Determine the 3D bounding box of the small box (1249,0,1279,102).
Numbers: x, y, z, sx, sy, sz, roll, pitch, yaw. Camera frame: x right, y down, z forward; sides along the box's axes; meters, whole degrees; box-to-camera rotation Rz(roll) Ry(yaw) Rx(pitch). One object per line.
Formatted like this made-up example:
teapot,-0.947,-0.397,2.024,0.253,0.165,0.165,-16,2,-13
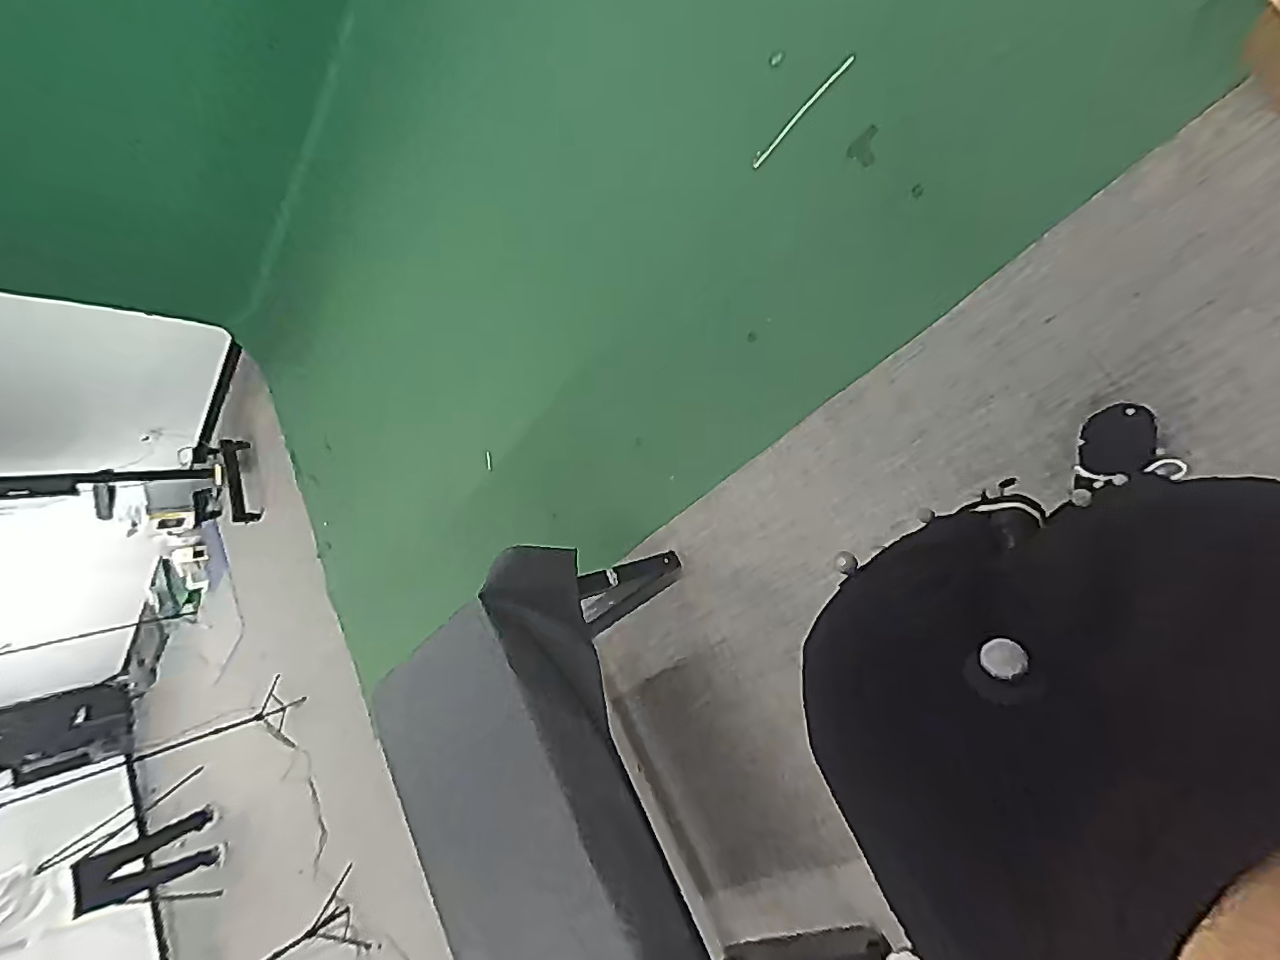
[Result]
small box,1.079,-0.675,0.799,0.168,0.176,0.179,-31,73,34
